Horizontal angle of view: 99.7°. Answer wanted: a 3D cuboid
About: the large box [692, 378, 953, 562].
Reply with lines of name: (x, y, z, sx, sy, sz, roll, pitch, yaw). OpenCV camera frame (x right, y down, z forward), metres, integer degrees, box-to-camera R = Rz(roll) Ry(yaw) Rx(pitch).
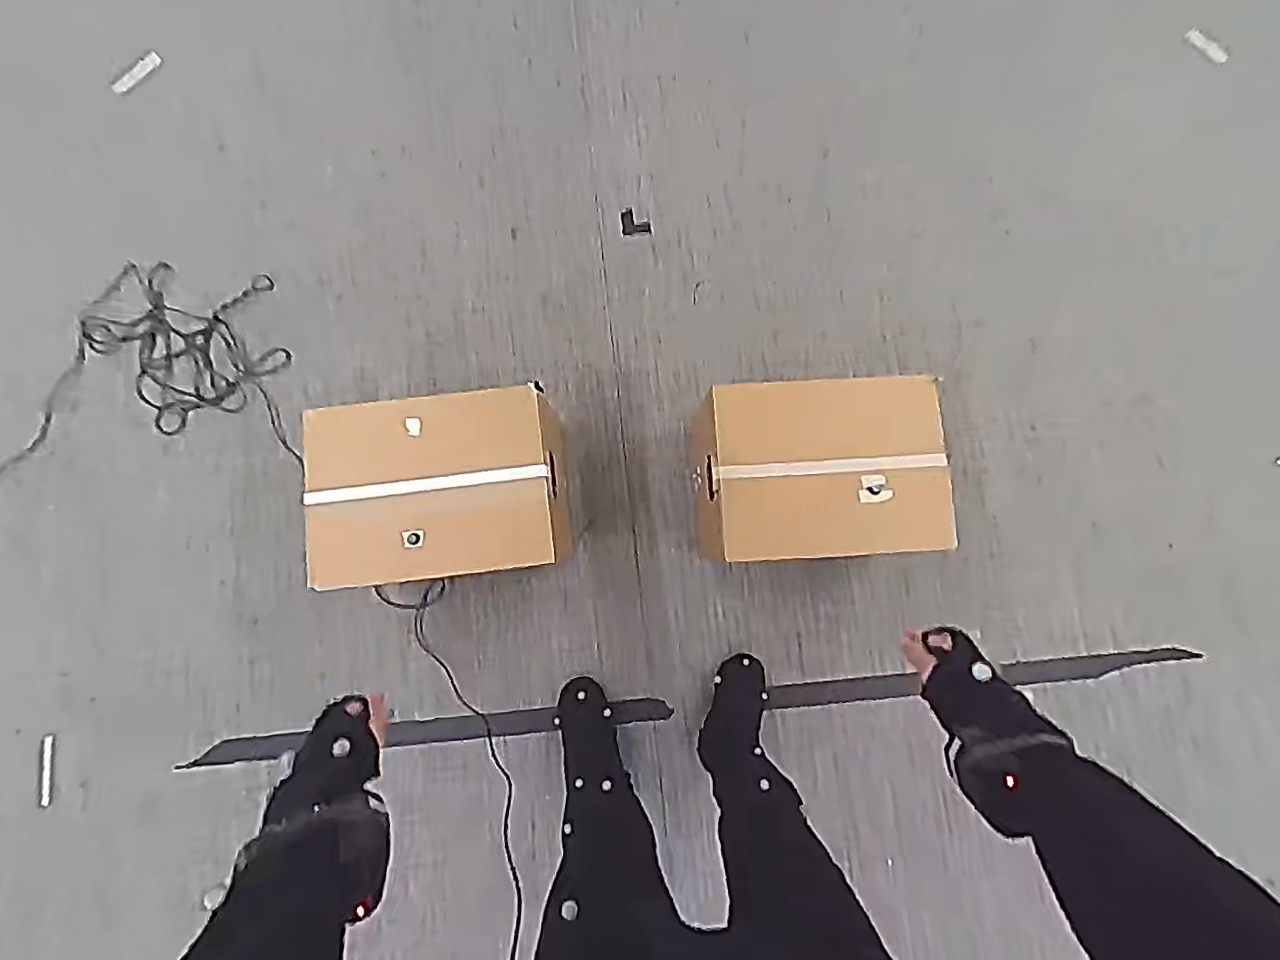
large box: (0.333, -0.003, 1.097, 0.408, 0.320, 0.320, -3, 83, -2)
